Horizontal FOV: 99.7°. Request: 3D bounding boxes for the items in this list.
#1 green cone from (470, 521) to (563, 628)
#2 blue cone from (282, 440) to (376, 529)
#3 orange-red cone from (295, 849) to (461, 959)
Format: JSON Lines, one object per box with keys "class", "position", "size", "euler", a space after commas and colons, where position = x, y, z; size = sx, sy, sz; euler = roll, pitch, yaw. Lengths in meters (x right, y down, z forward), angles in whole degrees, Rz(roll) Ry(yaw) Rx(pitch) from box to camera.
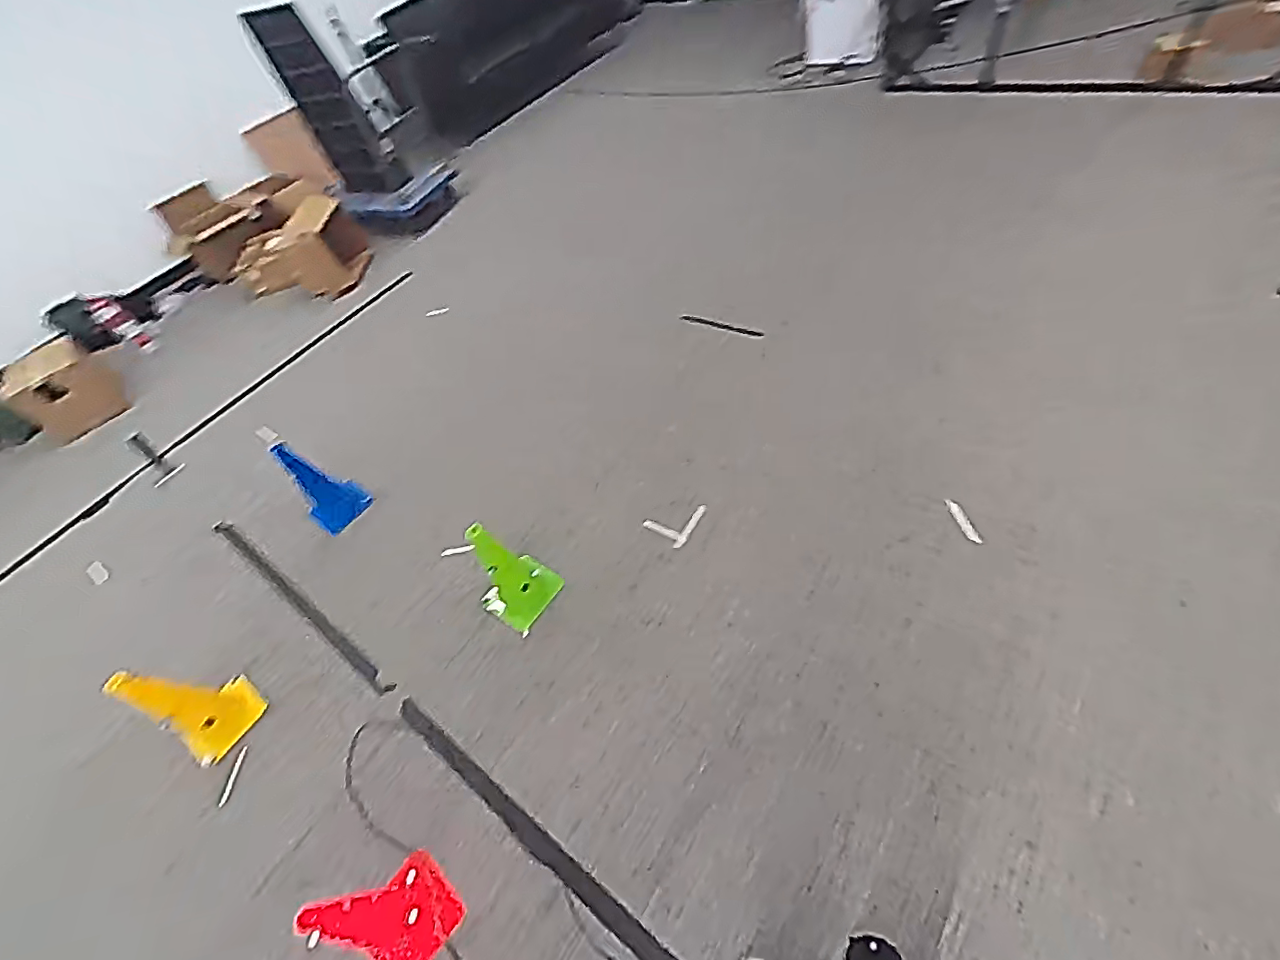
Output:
{"class": "green cone", "position": [-0.398, 0.239, 1.566], "size": [0.200, 0.368, 0.202], "euler": [25, 61, 30]}
{"class": "blue cone", "position": [-1.179, -0.002, 1.986], "size": [0.193, 0.380, 0.192], "euler": [29, 63, 31]}
{"class": "orange-red cone", "position": [-0.561, 0.884, 1.097], "size": [0.198, 0.360, 0.199], "euler": [28, 65, 33]}
